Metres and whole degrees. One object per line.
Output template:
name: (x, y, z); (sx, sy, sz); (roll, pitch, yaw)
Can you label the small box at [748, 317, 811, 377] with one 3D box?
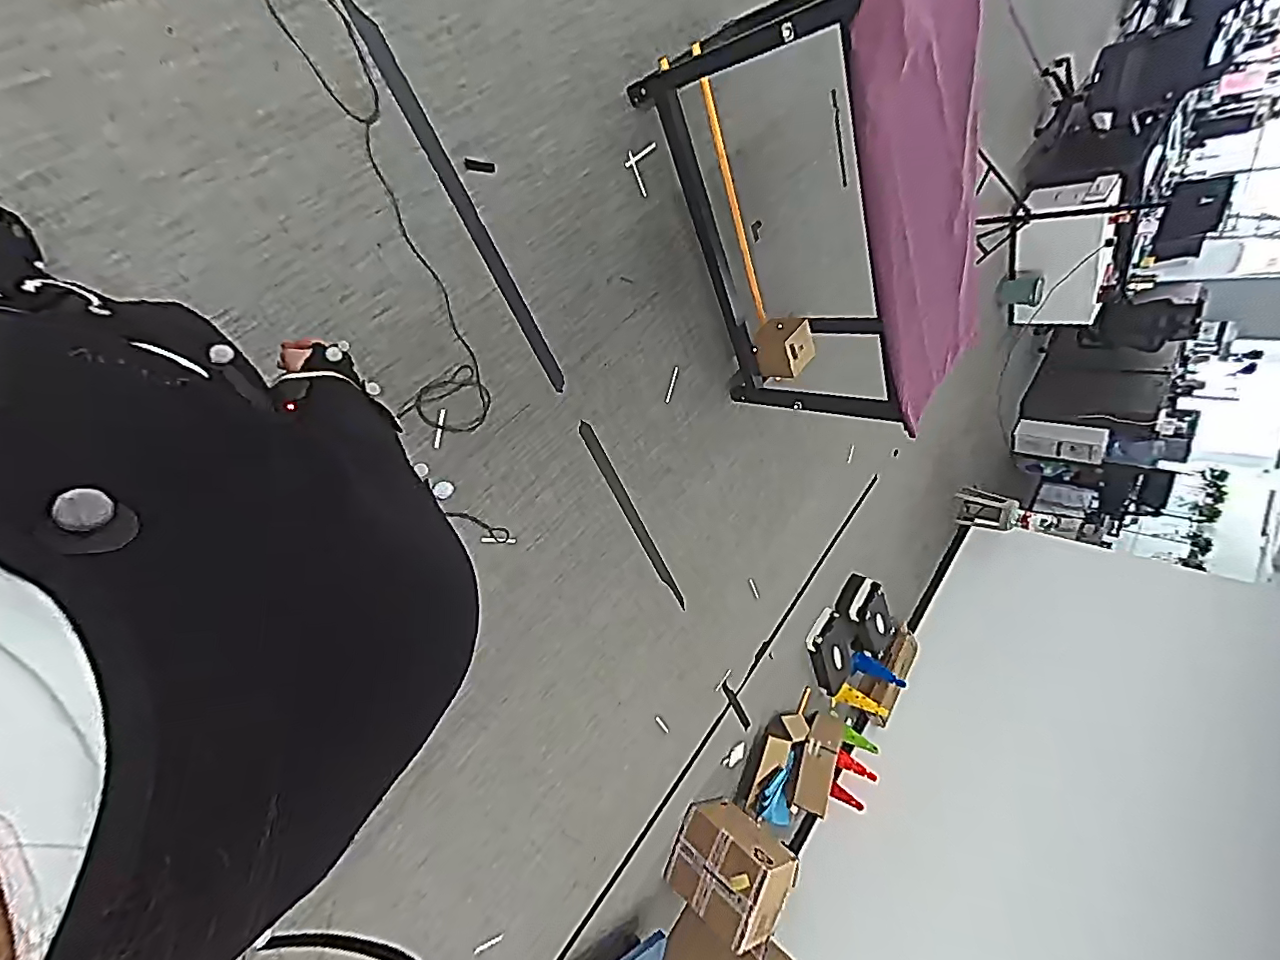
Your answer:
small box: (0.543, -0.524, 2.126); (0.179, 0.176, 0.168); (-47, 130, -25)
